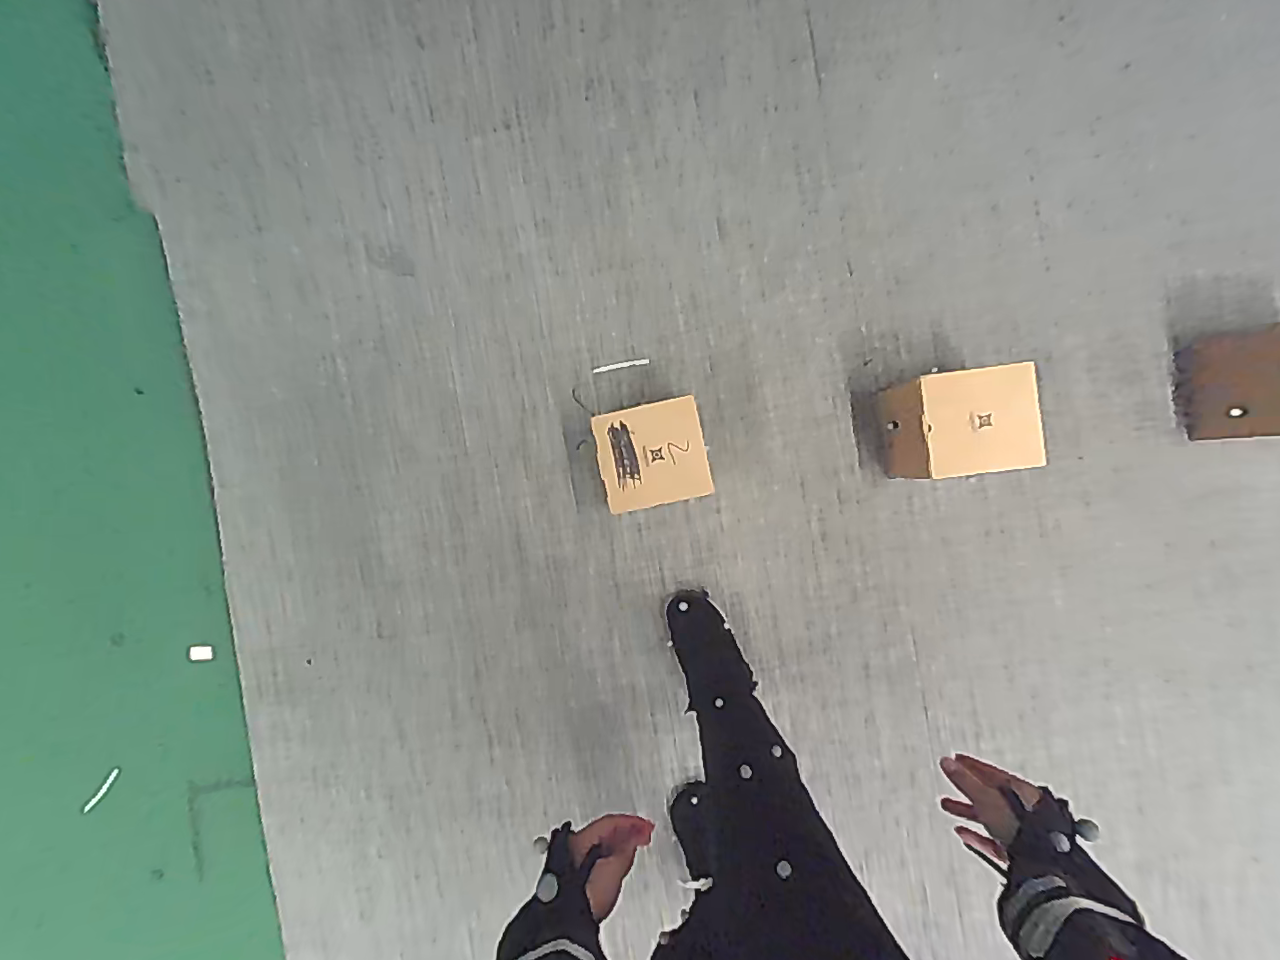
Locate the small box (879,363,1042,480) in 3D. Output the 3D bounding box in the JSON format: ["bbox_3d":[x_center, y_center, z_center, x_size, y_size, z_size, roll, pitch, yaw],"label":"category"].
[{"bbox_3d":[0.529,-0.094,0.914,0.179,0.176,0.168,-8,91,5],"label":"small box"}]

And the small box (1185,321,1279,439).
[{"bbox_3d":[1.047,-0.159,0.876,0.168,0.176,0.179,-4,90,3],"label":"small box"}]
